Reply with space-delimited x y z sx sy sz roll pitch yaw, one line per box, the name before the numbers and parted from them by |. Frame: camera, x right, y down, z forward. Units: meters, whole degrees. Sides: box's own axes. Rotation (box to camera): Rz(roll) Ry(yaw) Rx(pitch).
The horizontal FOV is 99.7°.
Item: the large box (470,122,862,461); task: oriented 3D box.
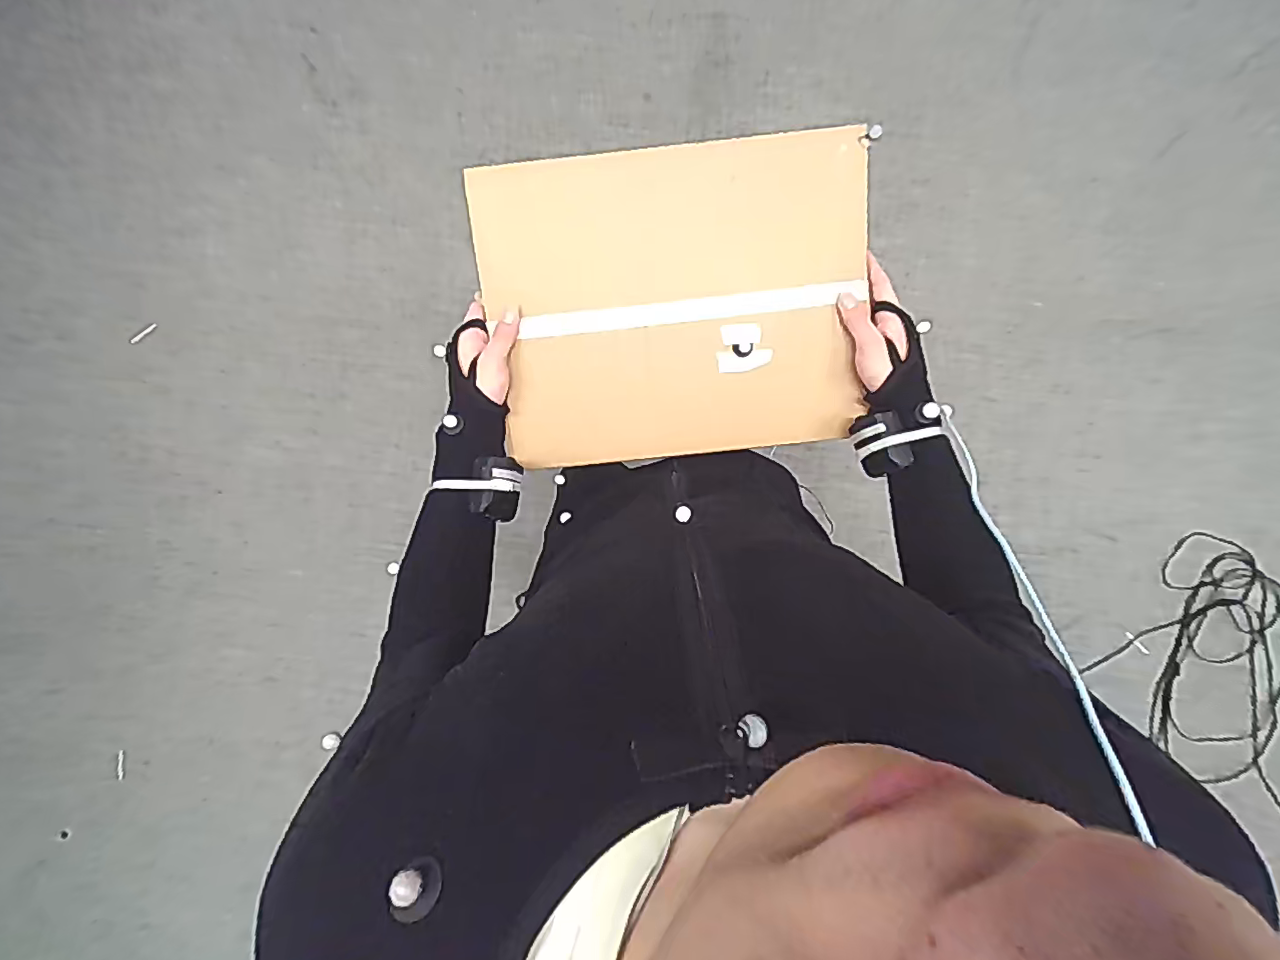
large box | 0.035 -0.226 0.728 0.408 0.320 0.320 -6 104 0
